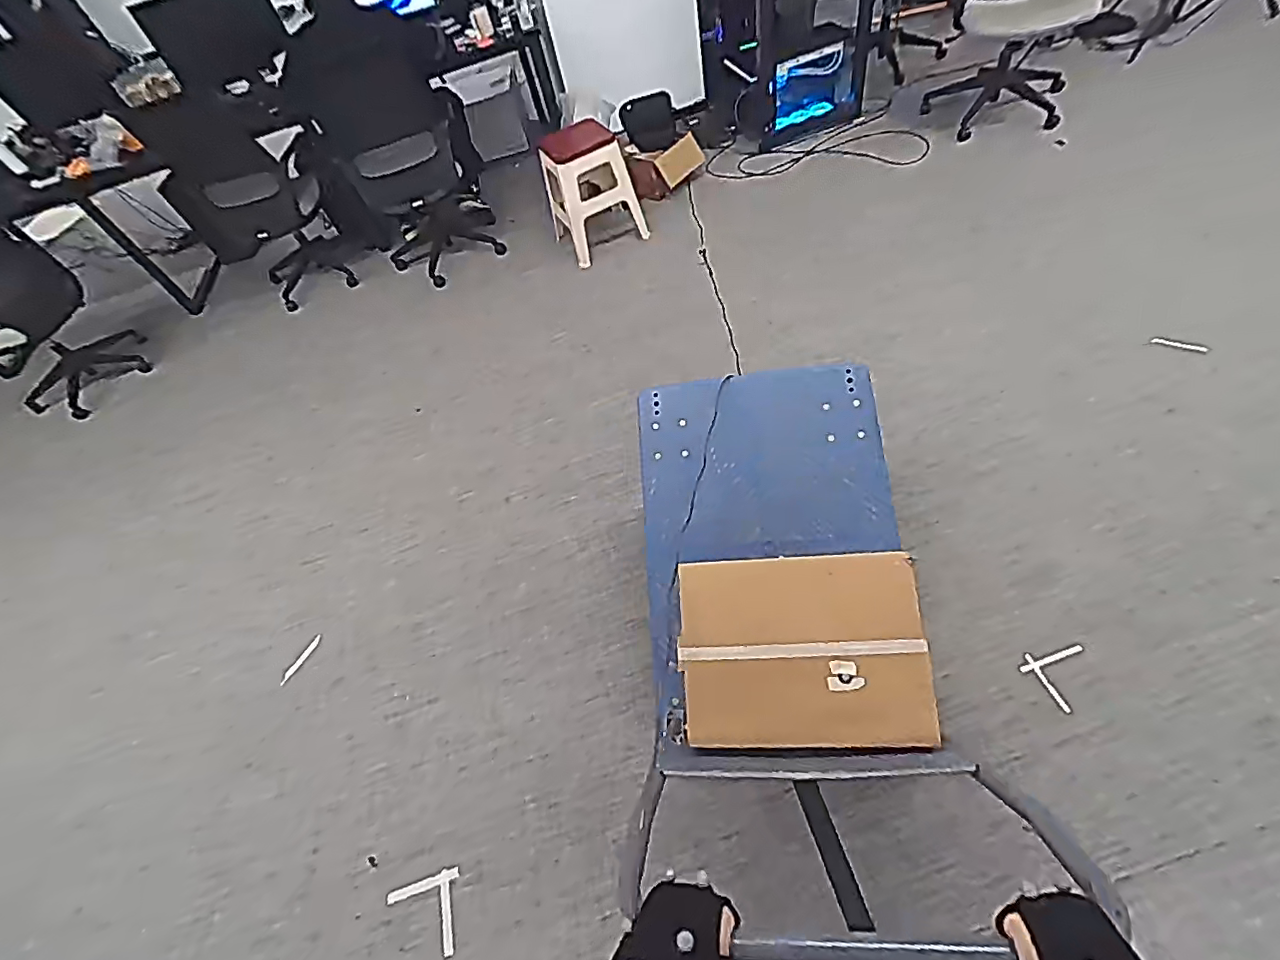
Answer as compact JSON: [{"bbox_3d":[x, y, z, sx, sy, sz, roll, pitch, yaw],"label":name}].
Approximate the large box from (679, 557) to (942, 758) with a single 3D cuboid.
[{"bbox_3d":[0.296,0.333,1.056,0.408,0.320,0.320,-5,77,8],"label":"large box"}]
